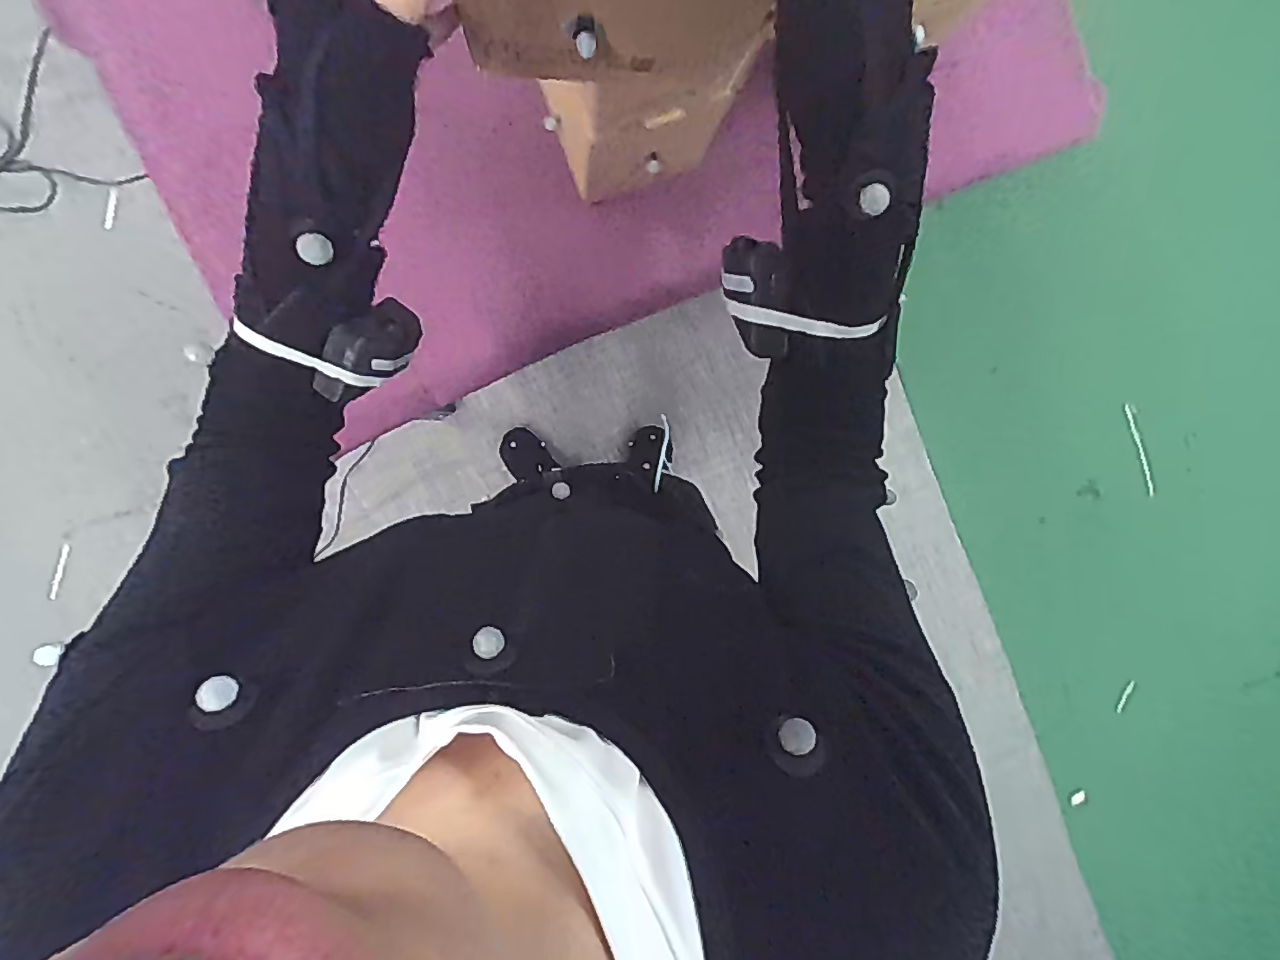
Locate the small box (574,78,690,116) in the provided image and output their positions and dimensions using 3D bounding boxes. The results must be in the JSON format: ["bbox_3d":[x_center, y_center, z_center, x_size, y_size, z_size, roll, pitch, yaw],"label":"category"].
[{"bbox_3d":[0.009,-0.446,0.455,0.168,0.176,0.179,-21,99,-5],"label":"small box"}]

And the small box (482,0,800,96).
[{"bbox_3d":[0.000,-0.322,0.253,0.168,0.176,0.179,0,104,-7],"label":"small box"}]

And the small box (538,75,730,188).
[{"bbox_3d":[-0.019,-0.462,0.616,0.168,0.176,0.179,-21,100,-5],"label":"small box"}]
